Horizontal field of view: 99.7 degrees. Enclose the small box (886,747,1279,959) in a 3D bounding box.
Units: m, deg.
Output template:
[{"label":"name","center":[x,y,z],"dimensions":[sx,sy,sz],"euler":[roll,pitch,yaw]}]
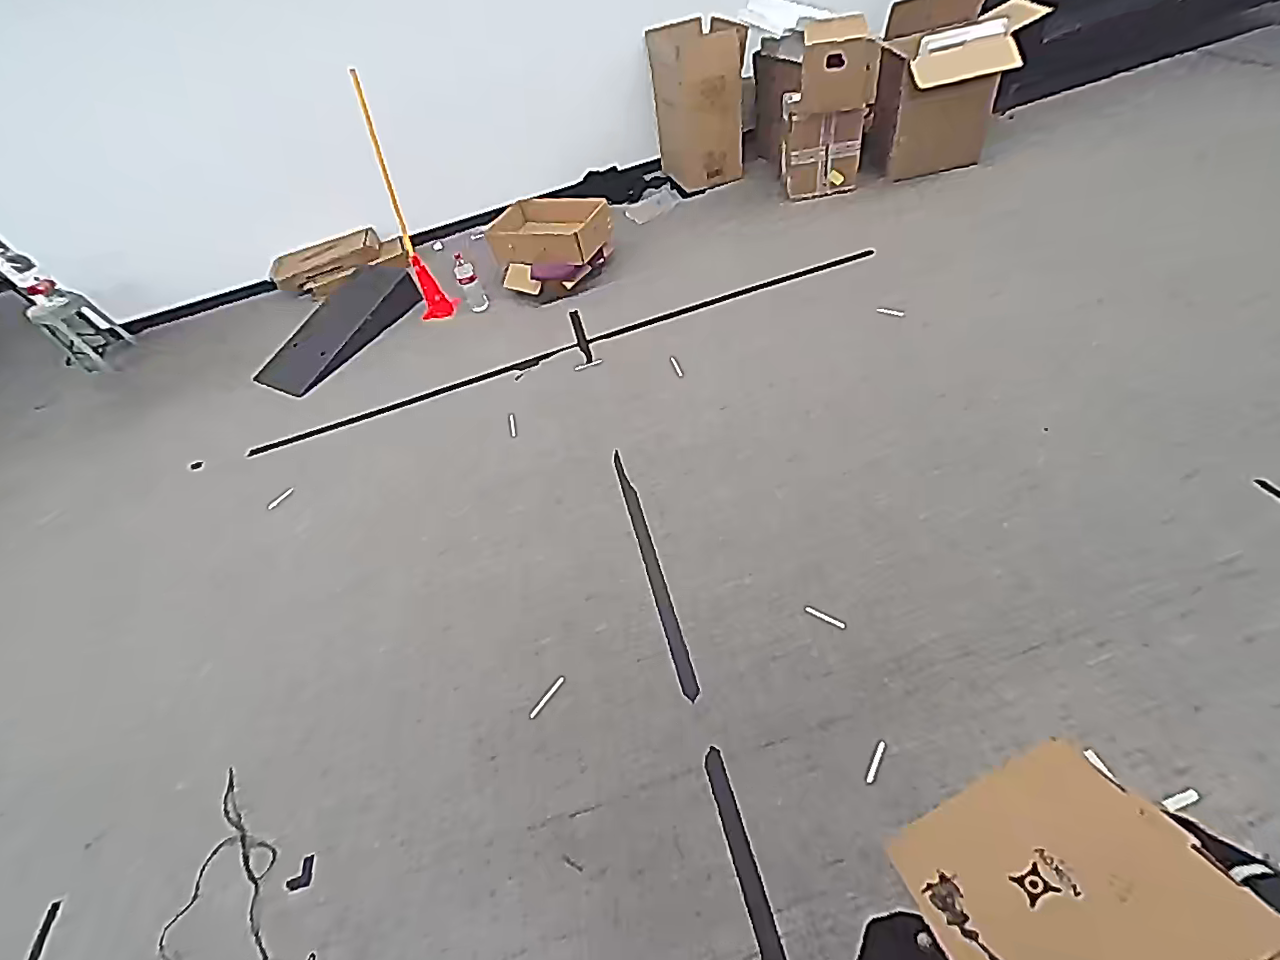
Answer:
[{"label":"small box","center":[0.330,0.352,0.400],"dimensions":[0.179,0.176,0.168],"euler":[-33,11,3]}]
